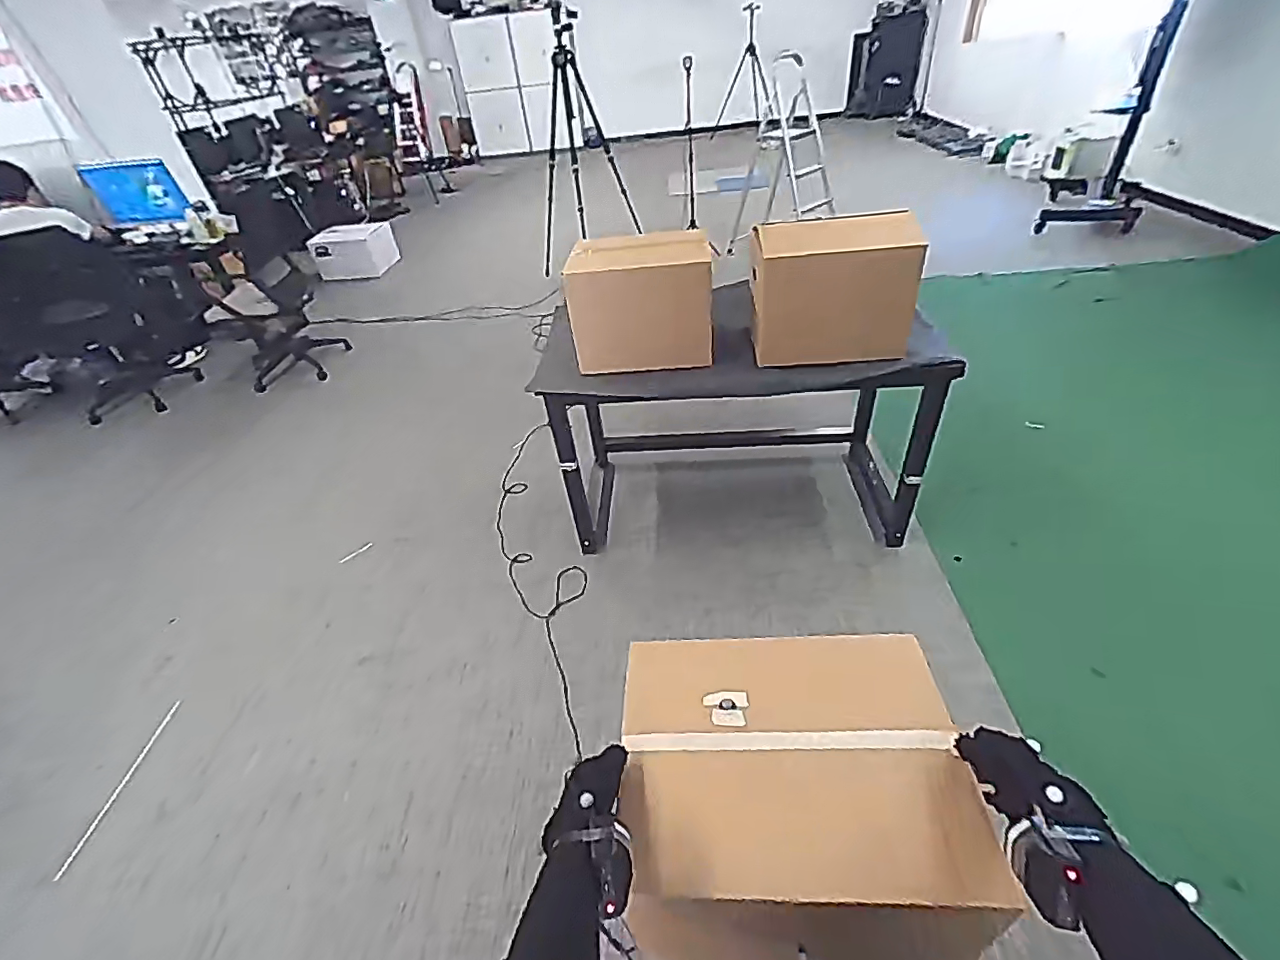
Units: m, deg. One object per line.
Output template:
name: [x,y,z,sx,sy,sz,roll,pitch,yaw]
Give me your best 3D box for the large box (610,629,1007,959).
large box: [0.192,0.436,0.754,0.408,0.320,0.320,-5,37,7]
